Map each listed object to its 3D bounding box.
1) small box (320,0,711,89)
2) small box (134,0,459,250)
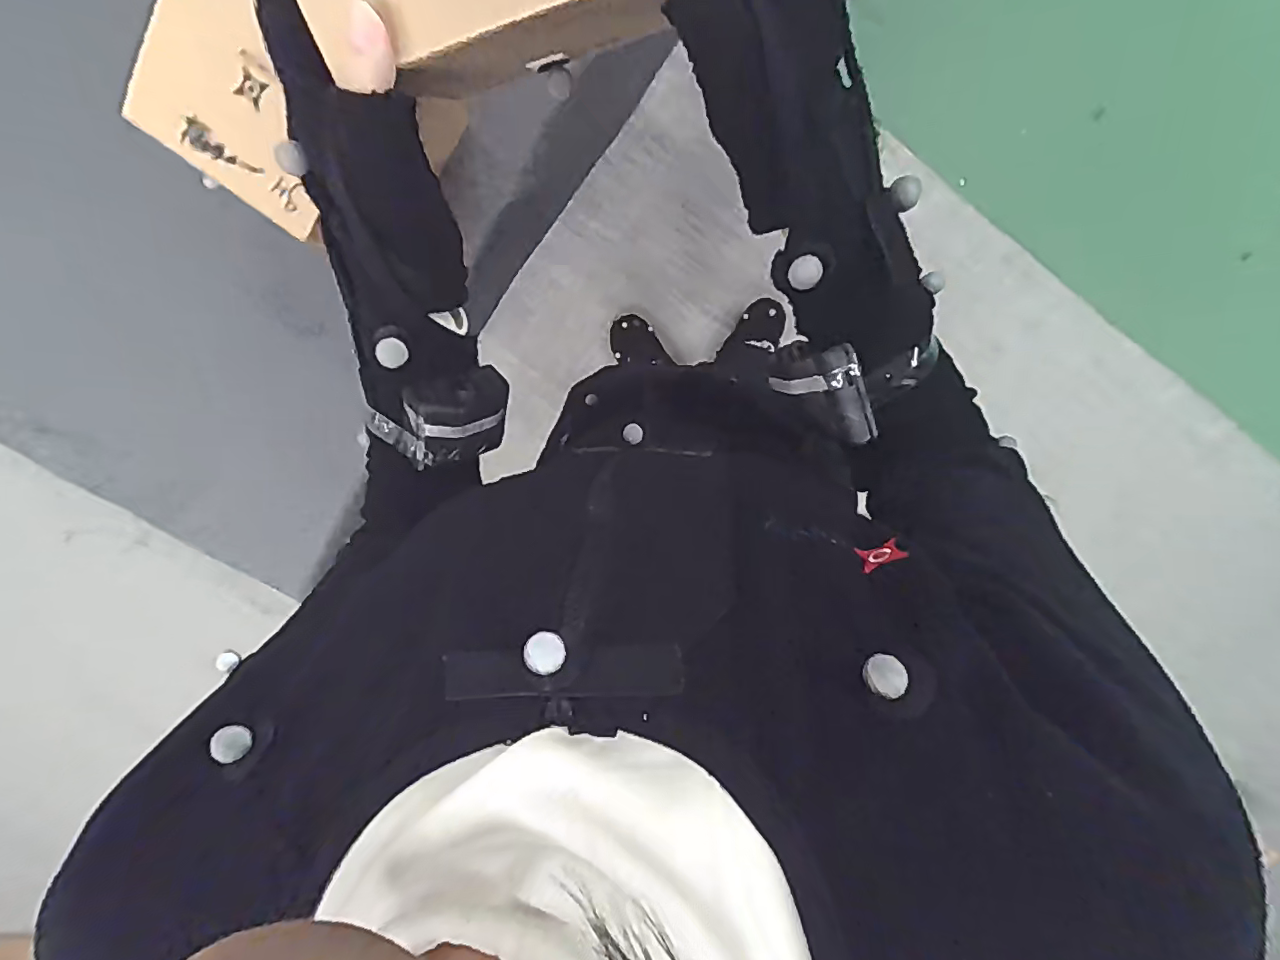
[{"bbox_3d":[-0.059,-0.298,0.234,0.168,0.176,0.179,-11,122,10],"label":"small box"},{"bbox_3d":[-0.294,-0.345,0.506,0.168,0.176,0.179,35,105,-9],"label":"small box"}]
